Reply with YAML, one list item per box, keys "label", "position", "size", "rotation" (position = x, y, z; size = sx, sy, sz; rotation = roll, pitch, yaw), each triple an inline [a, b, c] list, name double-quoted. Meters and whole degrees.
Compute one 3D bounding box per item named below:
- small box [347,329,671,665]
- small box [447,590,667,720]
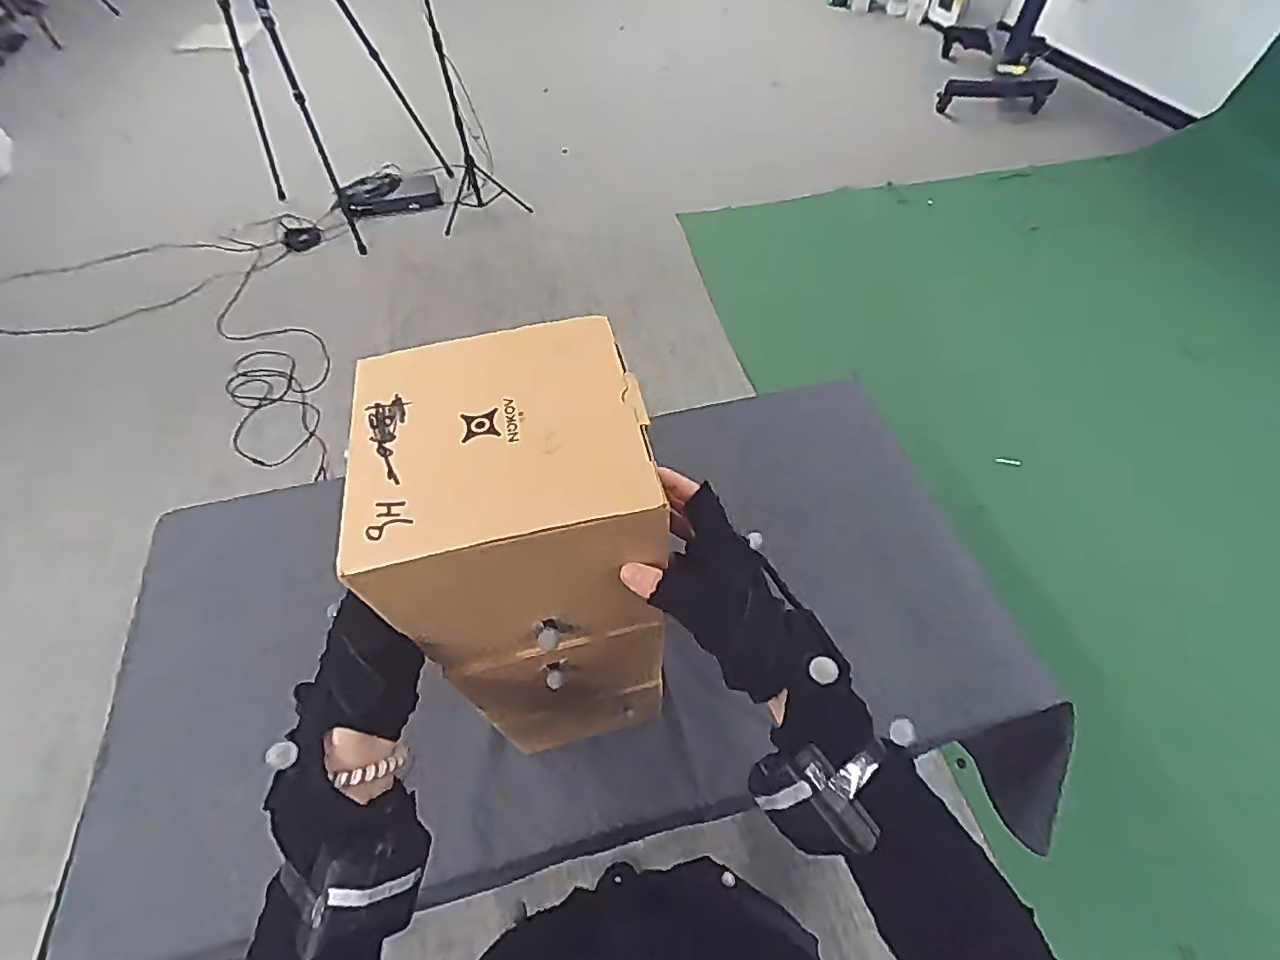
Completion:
- label: "small box"
  position: [-0.083, 0.018, 0.398]
  size: [0.179, 0.176, 0.168]
  rotation: [-11, 55, -7]
- label: "small box"
  position: [-0.080, 0.115, 0.530]
  size: [0.179, 0.176, 0.168]
  rotation: [-13, 55, -7]
